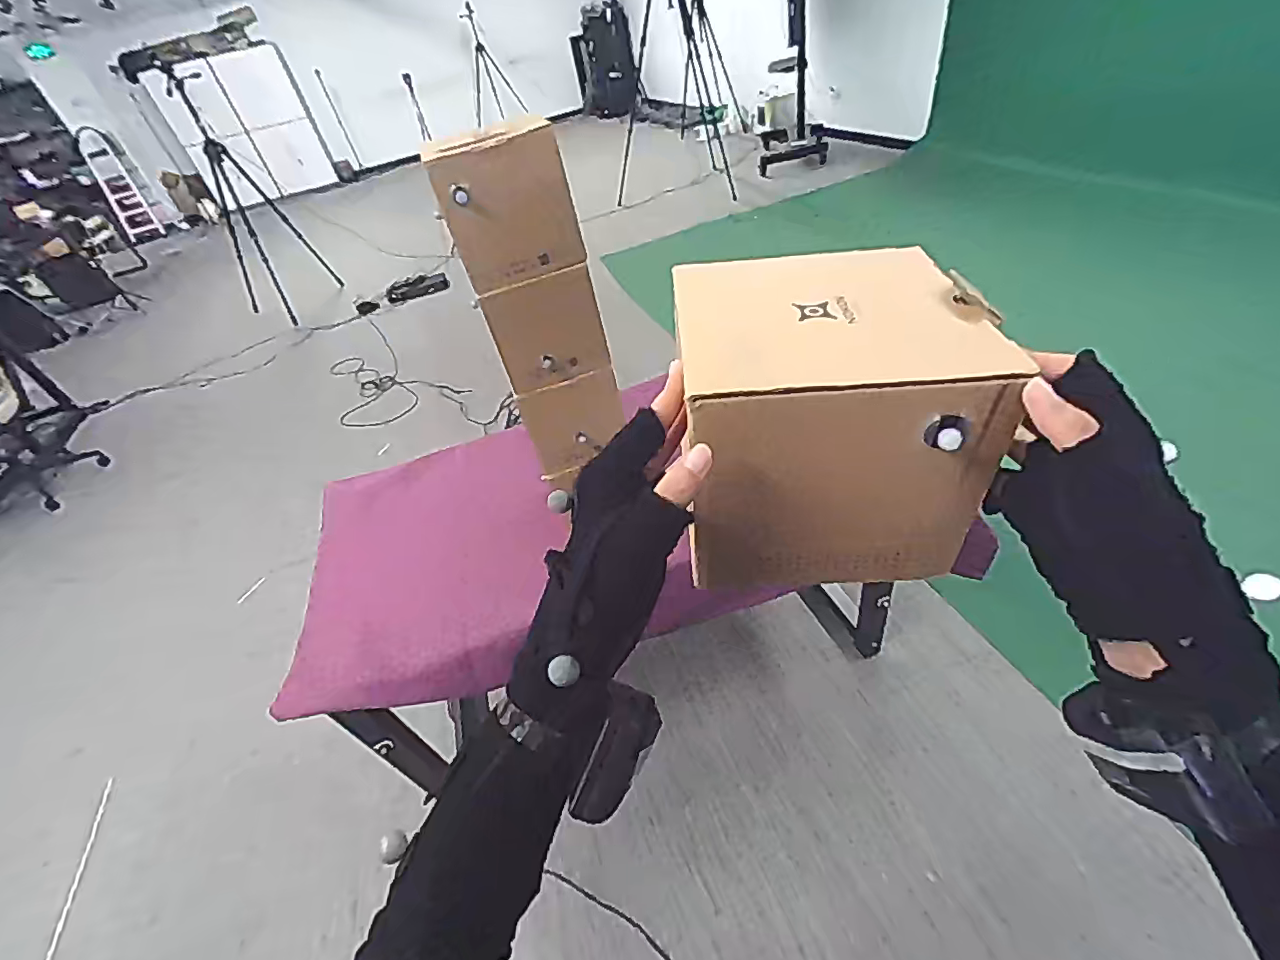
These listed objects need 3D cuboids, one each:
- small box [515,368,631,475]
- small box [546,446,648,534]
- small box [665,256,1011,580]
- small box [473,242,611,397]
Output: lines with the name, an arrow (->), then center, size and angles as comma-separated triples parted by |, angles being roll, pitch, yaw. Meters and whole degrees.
small box -> -0.128, -0.138, 0.982 | 0.168, 0.176, 0.179 | -20, 42, -7
small box -> -0.094, -0.014, 1.084 | 0.168, 0.176, 0.179 | -19, 41, -7
small box -> 0.112, -0.042, 0.390 | 0.179, 0.176, 0.168 | -3, 43, 3
small box -> -0.158, -0.261, 0.879 | 0.168, 0.176, 0.179 | -20, 41, -7
